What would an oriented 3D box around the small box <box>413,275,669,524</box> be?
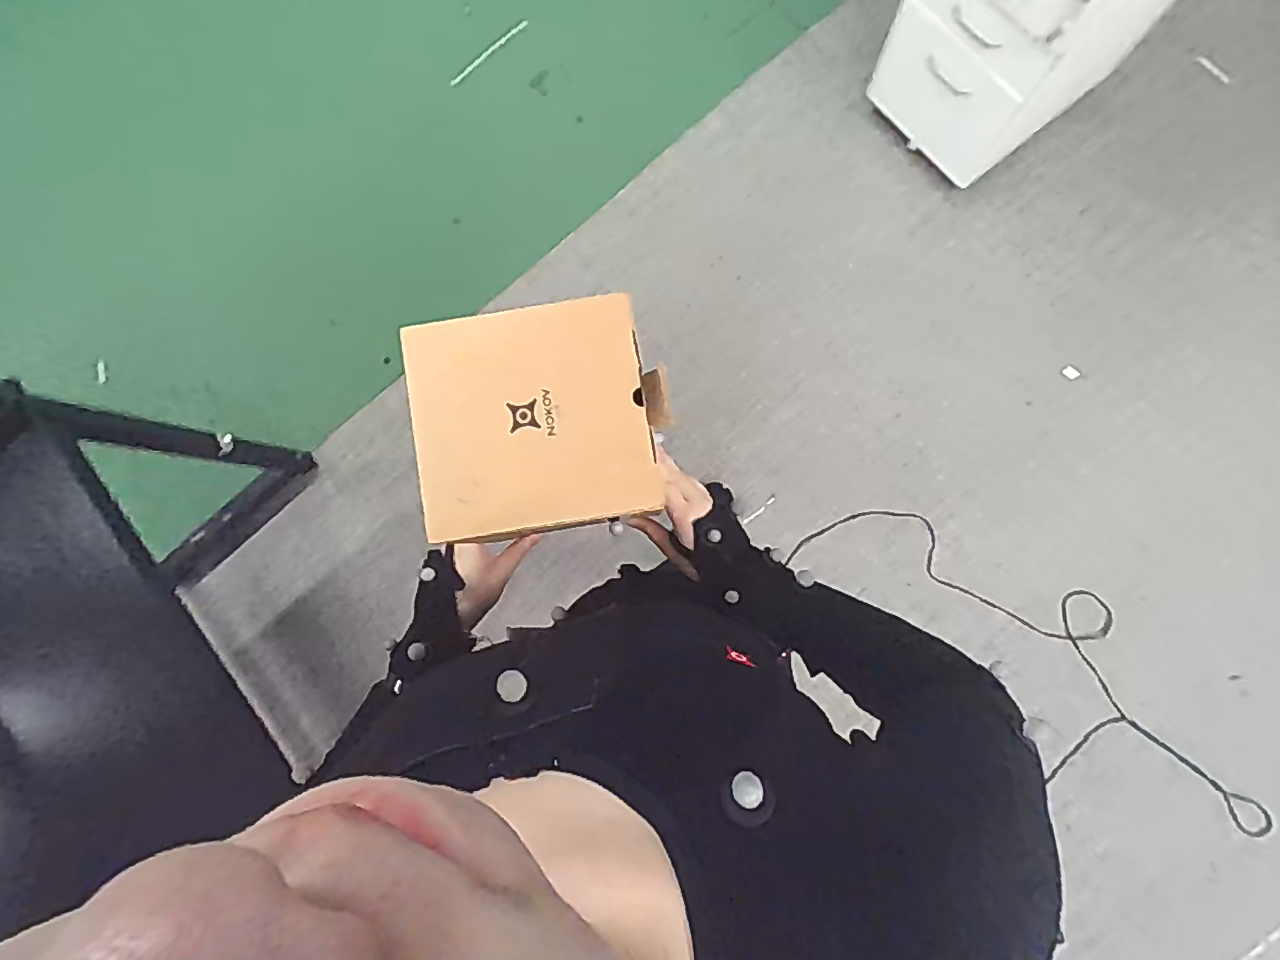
[{"bbox_3d":[-0.074,-0.054,0.477,0.179,0.176,0.168,-9,84,-1],"label":"small box"}]
